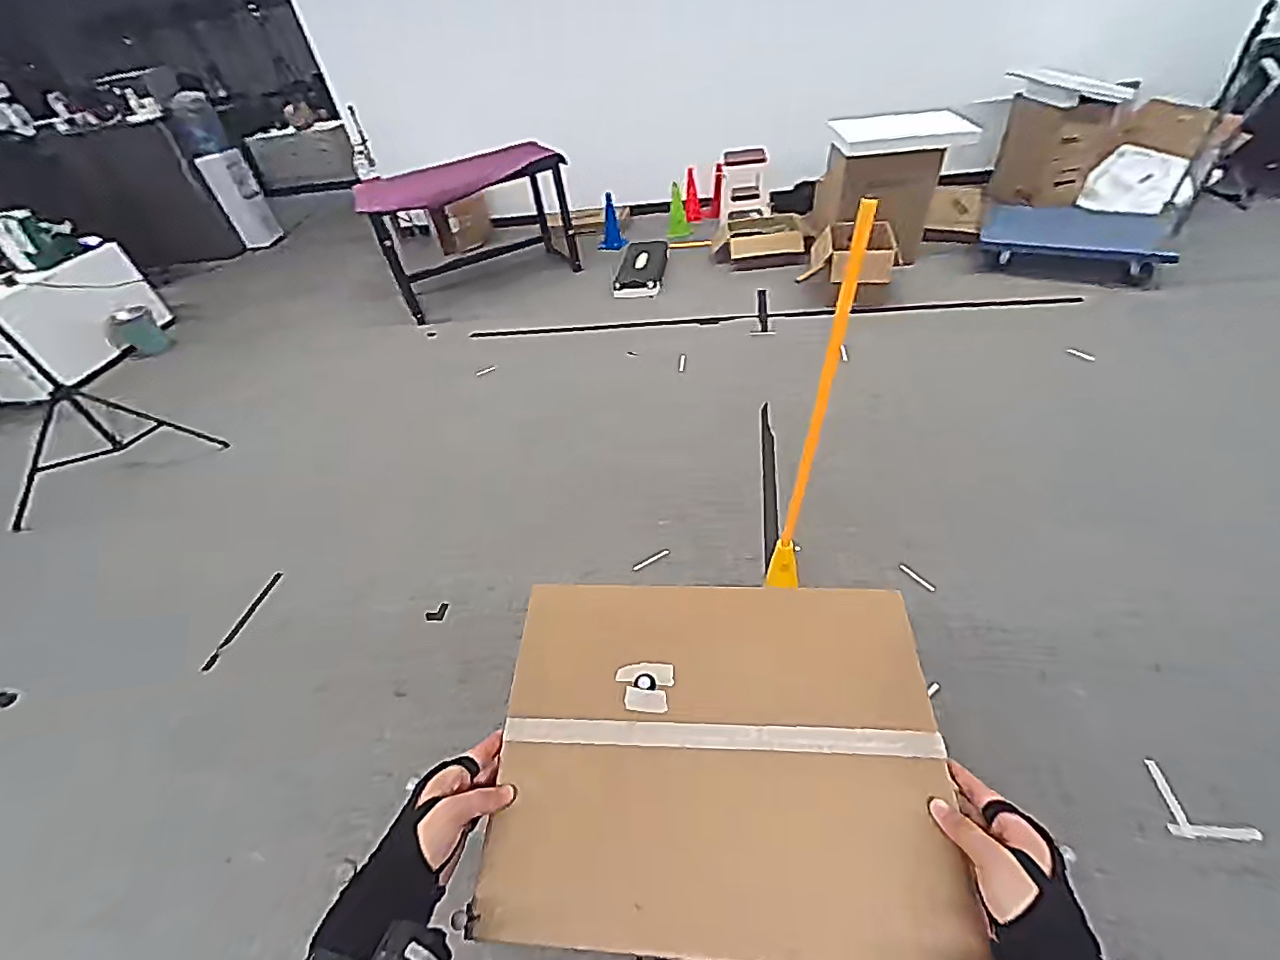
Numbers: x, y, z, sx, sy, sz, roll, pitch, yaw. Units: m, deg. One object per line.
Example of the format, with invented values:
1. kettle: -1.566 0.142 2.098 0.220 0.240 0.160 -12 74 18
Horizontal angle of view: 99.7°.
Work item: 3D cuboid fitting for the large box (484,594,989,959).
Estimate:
1. large box: 0.091 0.345 0.632 0.408 0.320 0.320 -2 50 7
